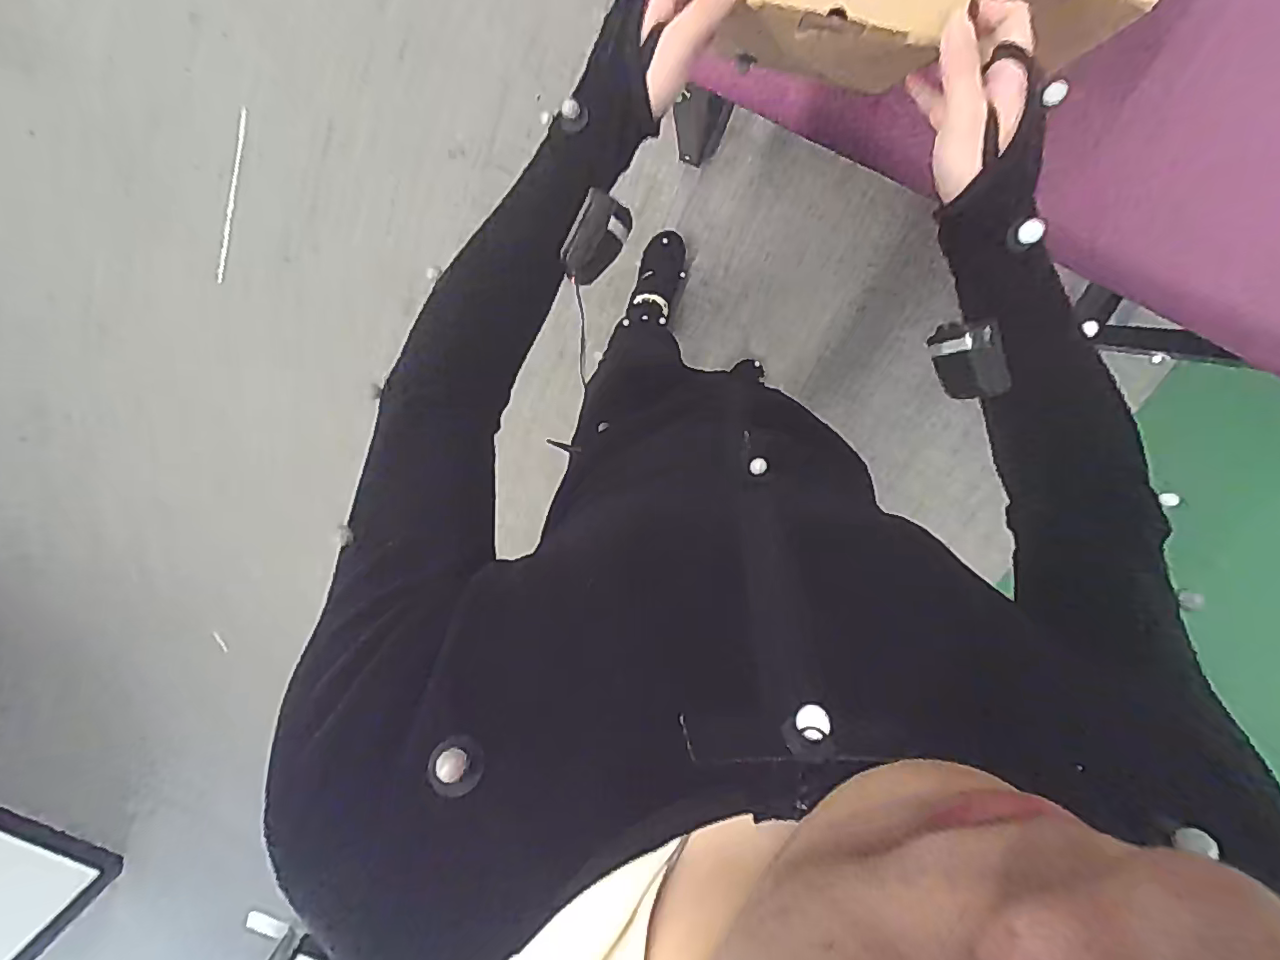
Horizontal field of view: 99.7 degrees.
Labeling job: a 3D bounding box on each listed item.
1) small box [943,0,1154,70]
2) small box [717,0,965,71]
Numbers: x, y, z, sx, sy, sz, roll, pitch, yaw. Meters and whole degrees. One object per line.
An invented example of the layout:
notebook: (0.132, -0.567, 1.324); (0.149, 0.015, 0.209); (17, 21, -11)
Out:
small box: (0.452, -0.583, 0.562); (0.168, 0.176, 0.179); (23, 109, -2)
small box: (0.154, -0.426, 0.386); (0.168, 0.176, 0.179); (12, 116, -1)
